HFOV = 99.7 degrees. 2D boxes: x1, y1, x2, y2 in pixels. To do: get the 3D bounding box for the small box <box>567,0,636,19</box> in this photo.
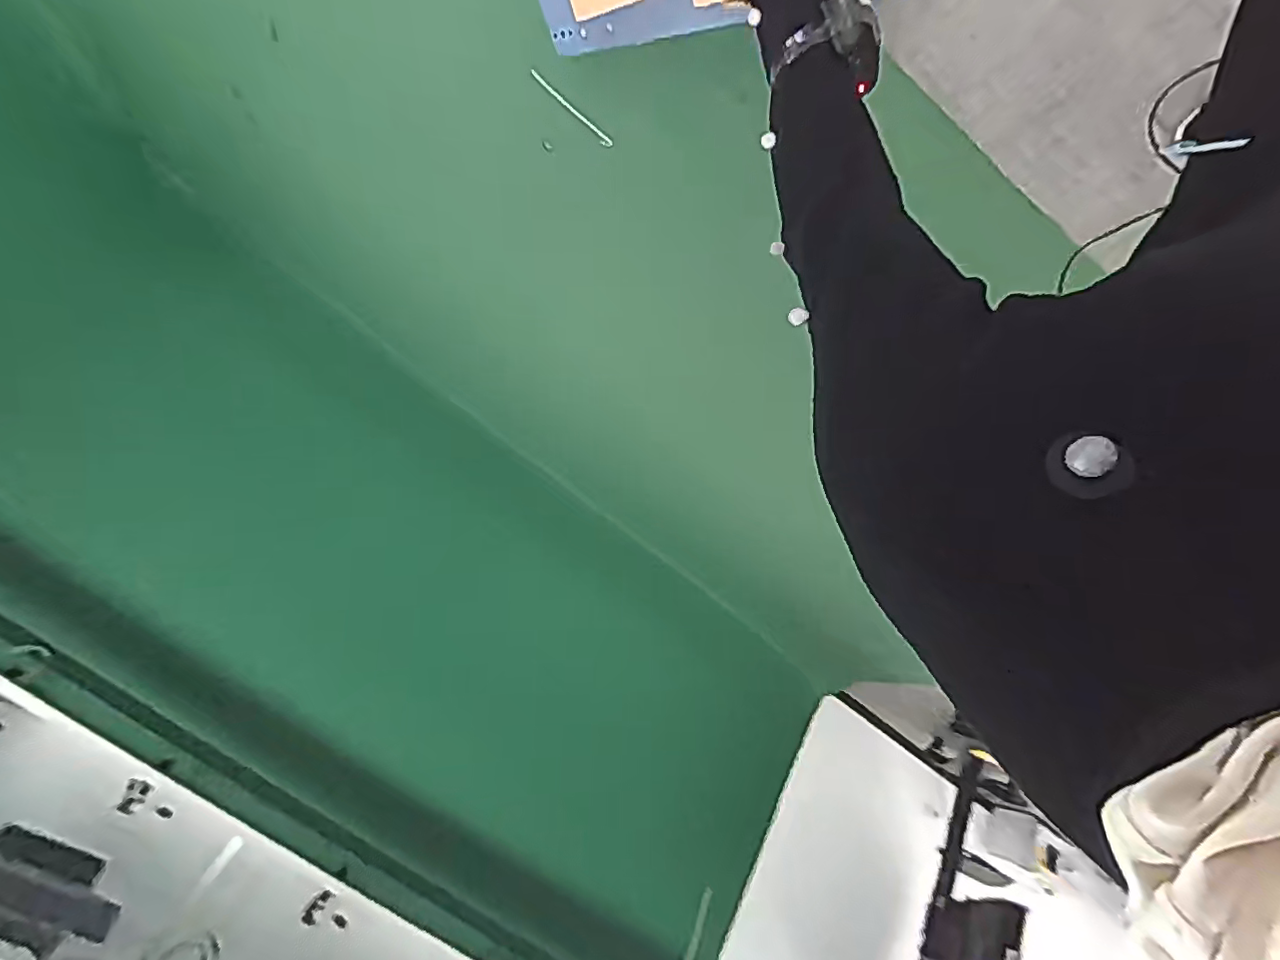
[{"bbox_3d":[-0.053,-1.050,1.058,0.179,0.176,0.168,14,146,32],"label":"small box"}]
